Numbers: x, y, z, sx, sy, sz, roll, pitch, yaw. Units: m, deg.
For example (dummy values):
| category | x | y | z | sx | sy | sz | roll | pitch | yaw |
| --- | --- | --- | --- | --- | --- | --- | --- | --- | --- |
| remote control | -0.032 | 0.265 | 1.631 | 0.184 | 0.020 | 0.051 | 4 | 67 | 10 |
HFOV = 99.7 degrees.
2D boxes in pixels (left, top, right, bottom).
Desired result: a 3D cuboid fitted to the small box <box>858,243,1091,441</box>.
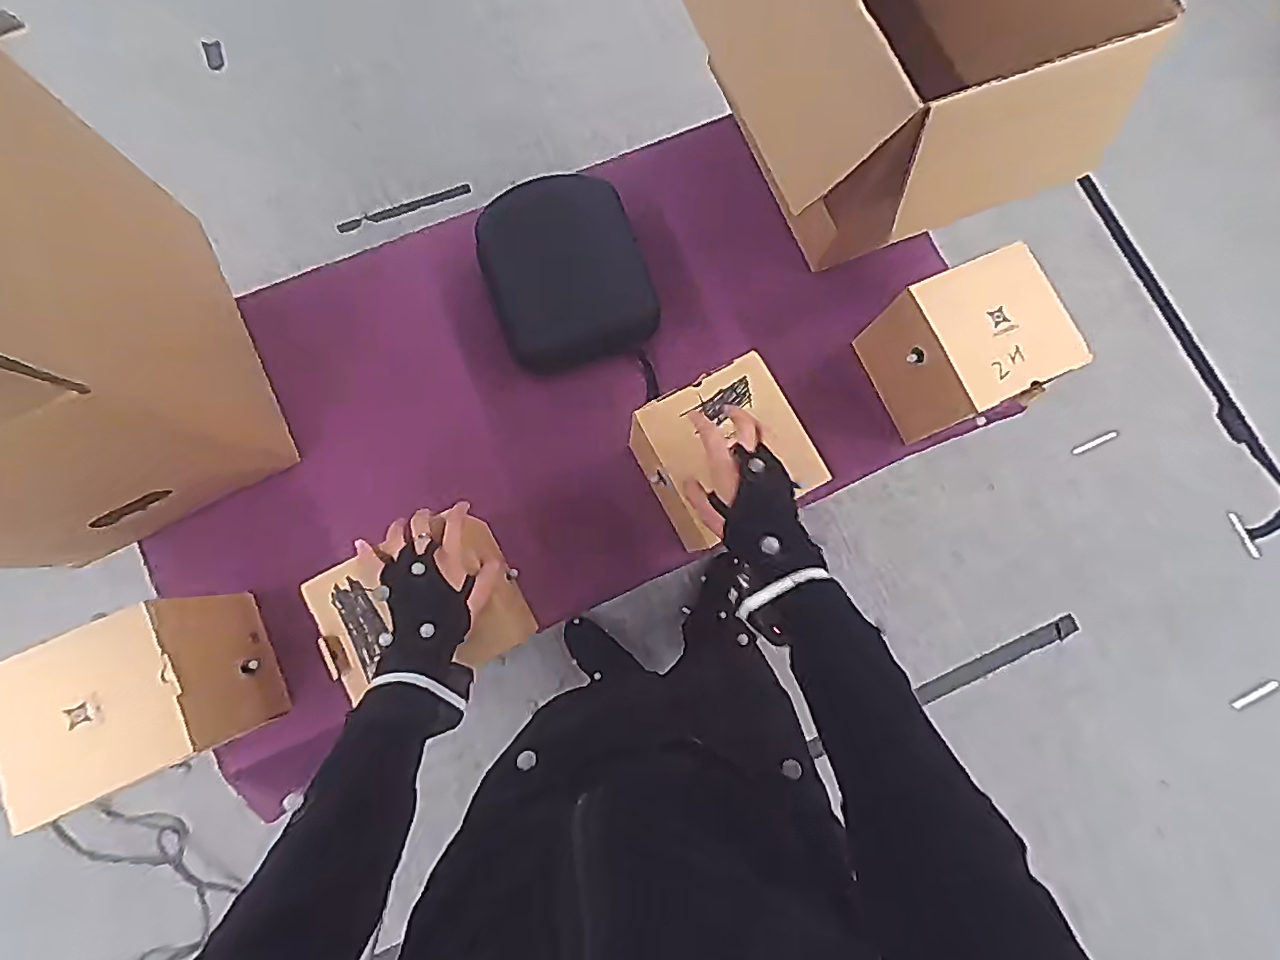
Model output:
| category | x | y | z | sx | sy | sz | roll | pitch | yaw |
| --- | --- | --- | --- | --- | --- | --- | --- | --- | --- |
| small box | 0.429 | -0.173 | 0.728 | 0.168 | 0.176 | 0.179 | -23 | 82 | -5 |

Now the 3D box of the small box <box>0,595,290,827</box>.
| category | x | y | z | sx | sy | sz | roll | pitch | yaw |
| --- | --- | --- | --- | --- | --- | --- | --- | --- | --- |
| small box | -0.552 | 0.242 | 0.617 | 0.179 | 0.176 | 0.168 | -24 | 83 | -7 |

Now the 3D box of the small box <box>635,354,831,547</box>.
| category | x | y | z | sx | sy | sz | roll | pitch | yaw |
| --- | --- | --- | --- | --- | --- | --- | --- | --- | --- |
| small box | 0.102 | -0.026 | 0.691 | 0.168 | 0.176 | 0.179 | -28 | 84 | -6 |
